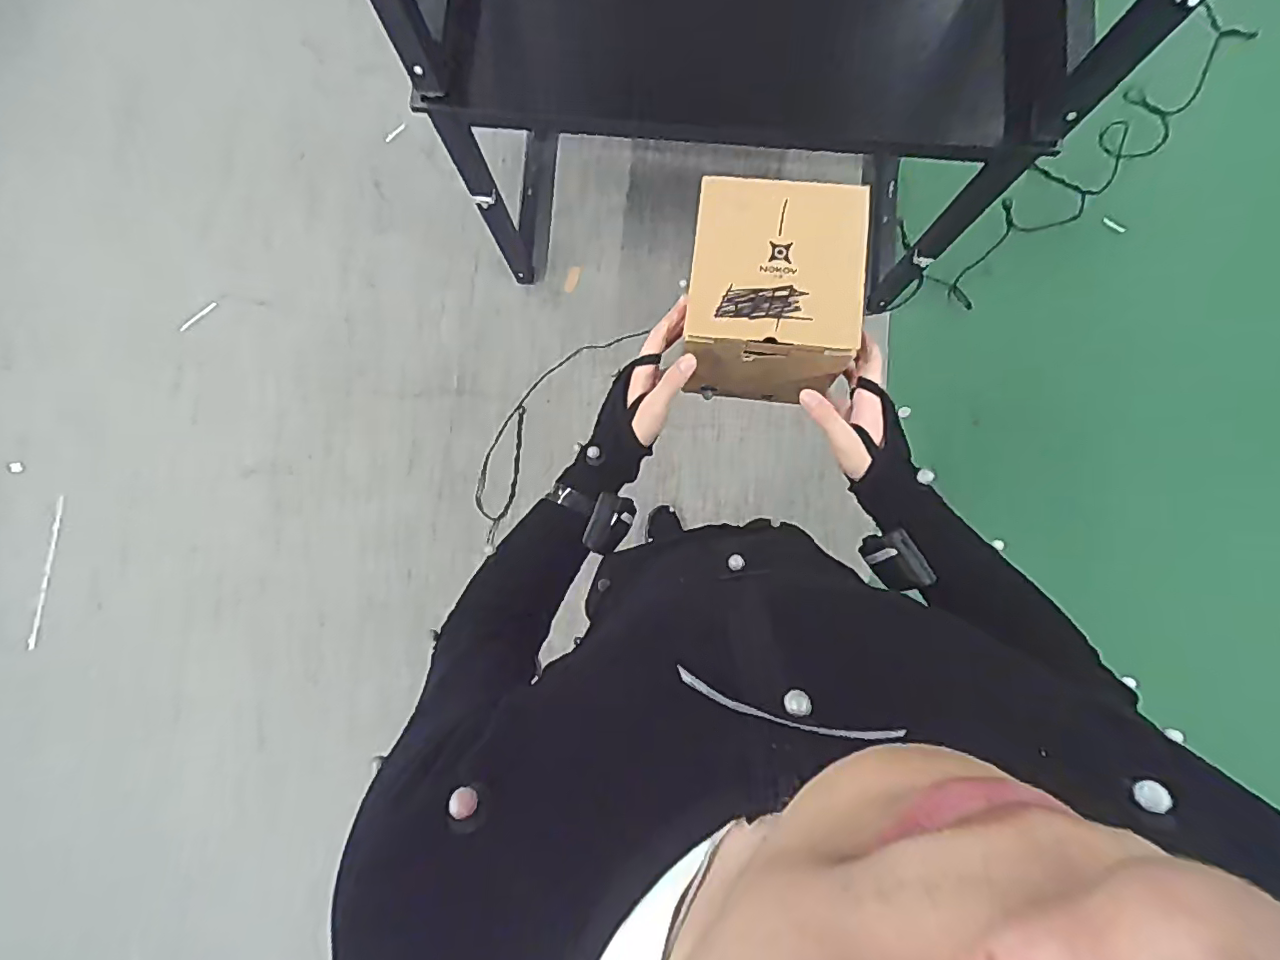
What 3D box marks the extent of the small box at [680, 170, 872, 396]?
[{"bbox_3d":[0.139,-0.203,0.598,0.168,0.176,0.179,7,82,6],"label":"small box"}]
